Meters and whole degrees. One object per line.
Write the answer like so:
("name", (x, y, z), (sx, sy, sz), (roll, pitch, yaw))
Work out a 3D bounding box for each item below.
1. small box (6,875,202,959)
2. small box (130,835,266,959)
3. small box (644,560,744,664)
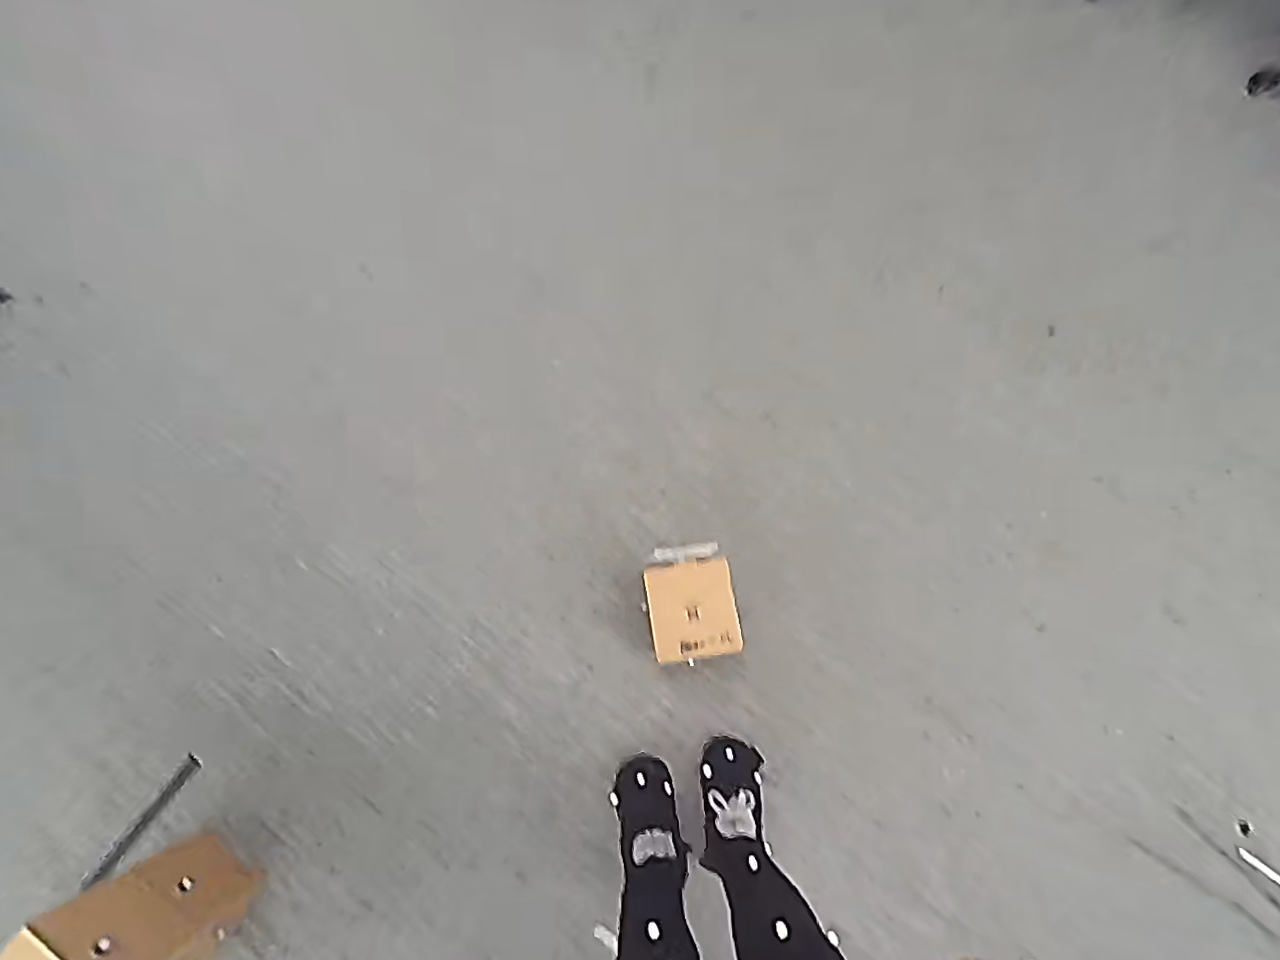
("small box", (-0.851, 0.770, 0.839), (0.179, 0.176, 0.168), (33, 80, 7))
("small box", (-0.854, 0.807, 1.000), (0.179, 0.176, 0.168), (32, 80, 7))
("small box", (0.101, 0.265, 1.102), (0.168, 0.176, 0.179), (-8, 79, -2))
